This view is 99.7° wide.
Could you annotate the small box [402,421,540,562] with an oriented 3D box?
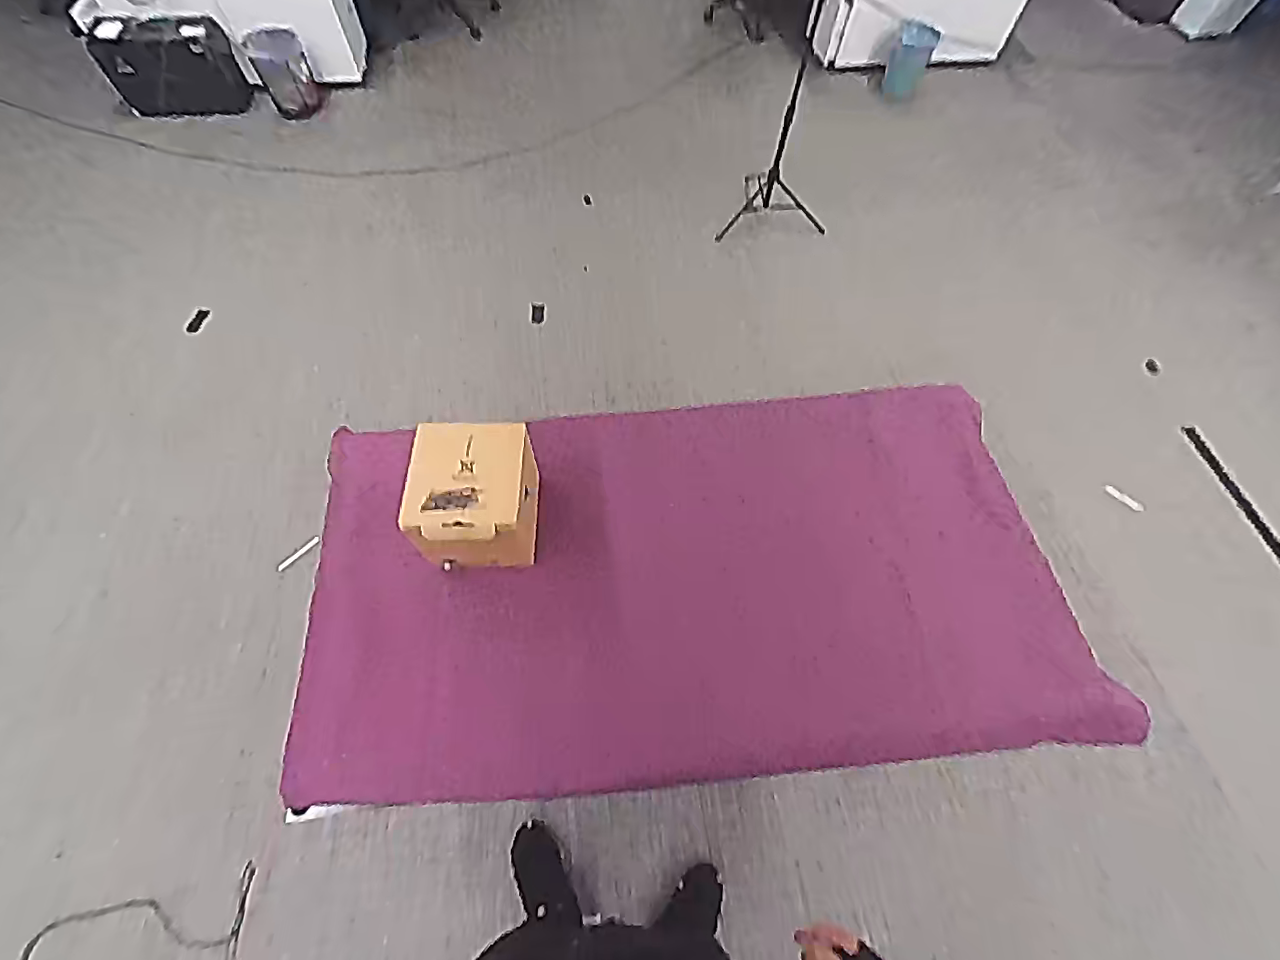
[{"bbox_3d":[-0.253,0.025,0.857,0.168,0.176,0.179,0,62,-3],"label":"small box"}]
